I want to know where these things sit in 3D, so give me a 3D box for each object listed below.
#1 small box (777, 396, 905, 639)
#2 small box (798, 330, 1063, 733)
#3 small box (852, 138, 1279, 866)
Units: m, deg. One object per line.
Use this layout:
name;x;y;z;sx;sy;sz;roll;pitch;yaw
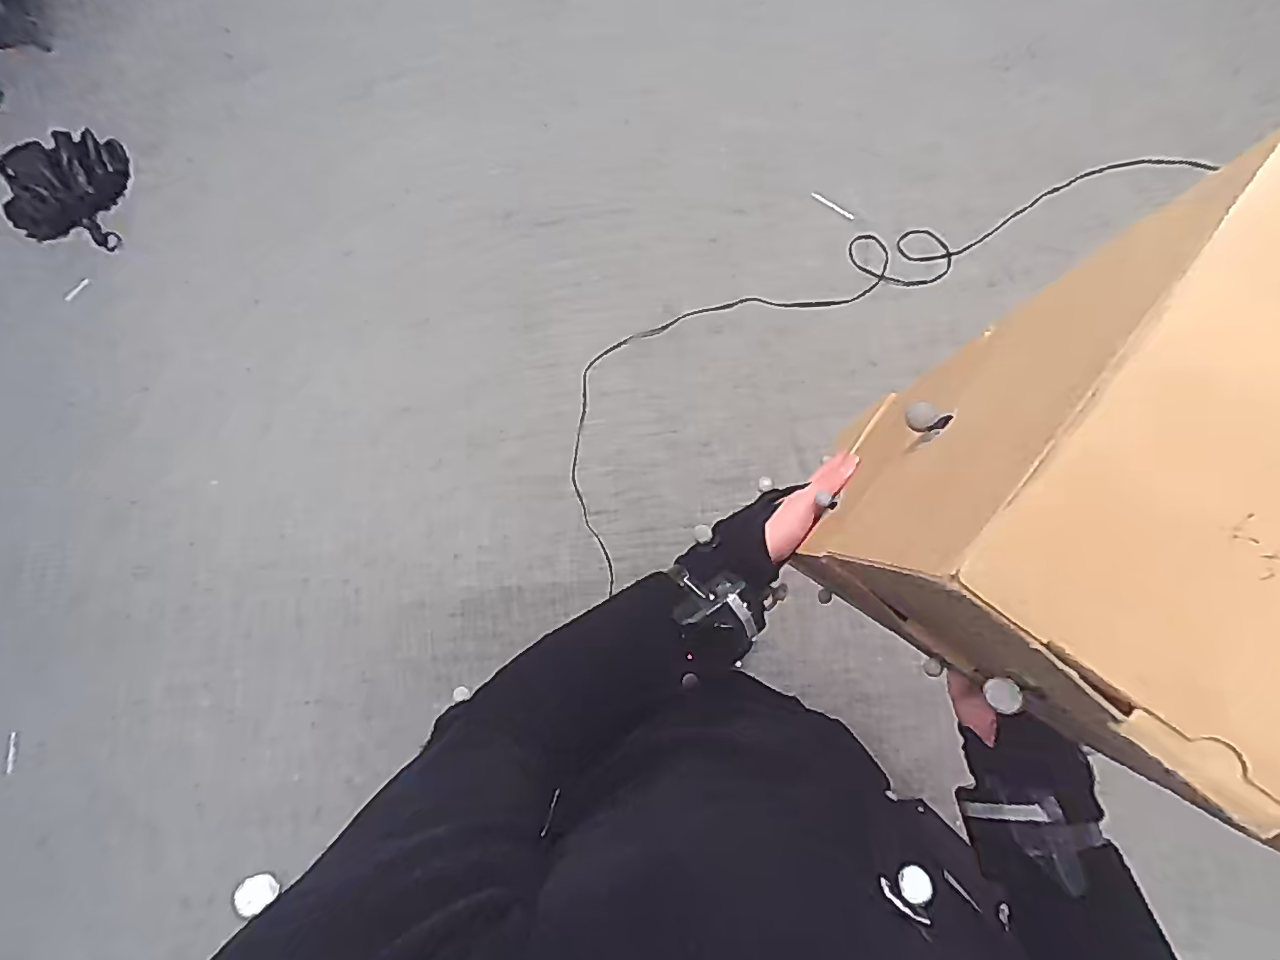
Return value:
small box;0.255;0.046;0.546;0.168;0.176;0.179;34;90;10
small box;0.232;0.034;0.386;0.168;0.176;0.179;35;88;9
small box;0.213;0.019;0.224;0.168;0.176;0.179;38;91;9
